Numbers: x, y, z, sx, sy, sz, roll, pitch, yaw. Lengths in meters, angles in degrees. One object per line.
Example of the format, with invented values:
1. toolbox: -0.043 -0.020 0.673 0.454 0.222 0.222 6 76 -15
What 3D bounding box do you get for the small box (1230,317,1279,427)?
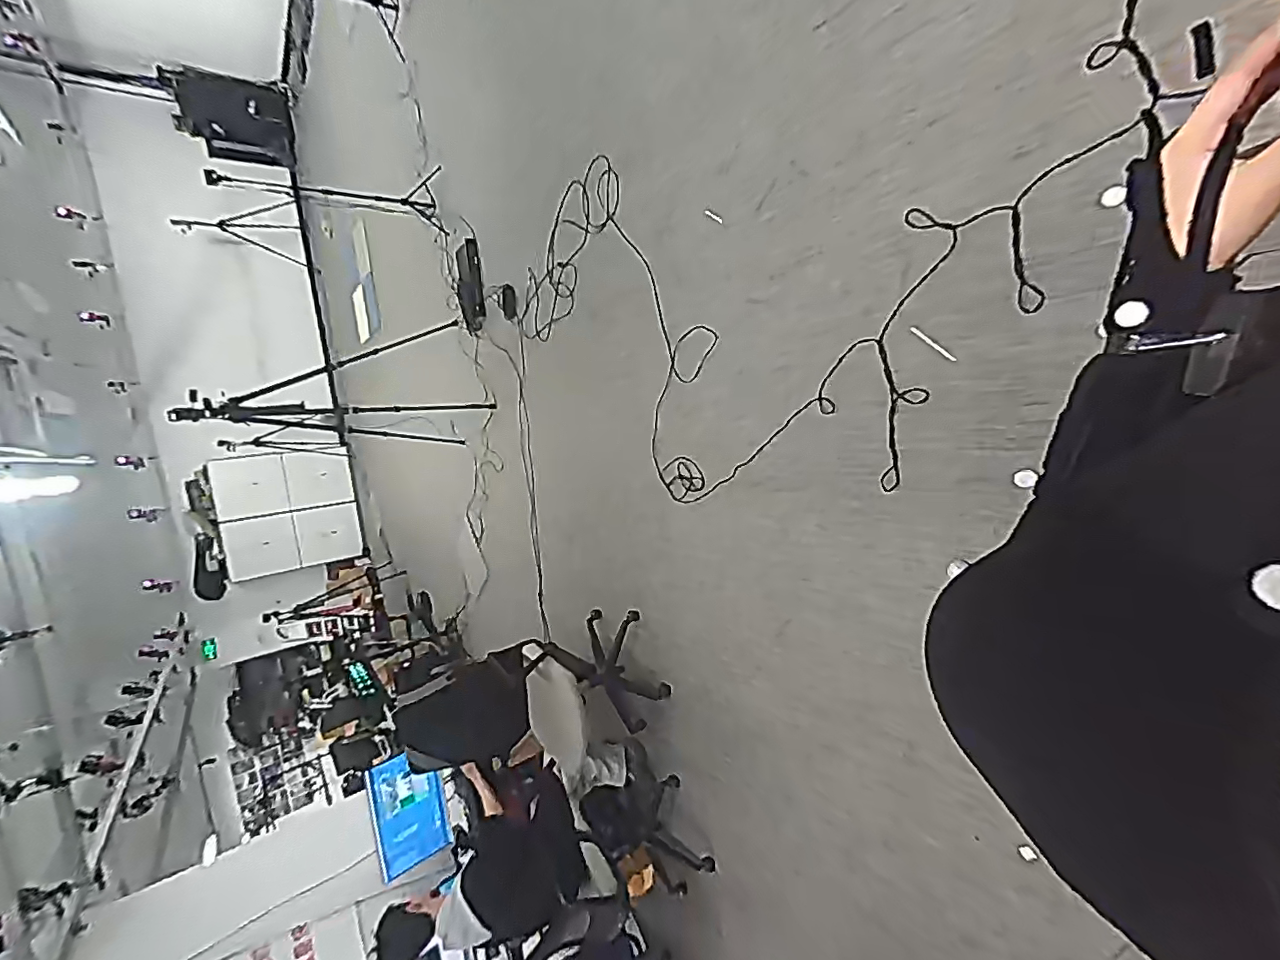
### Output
1. small box: 1.069 -0.162 0.834 0.179 0.176 0.168 28 118 59
